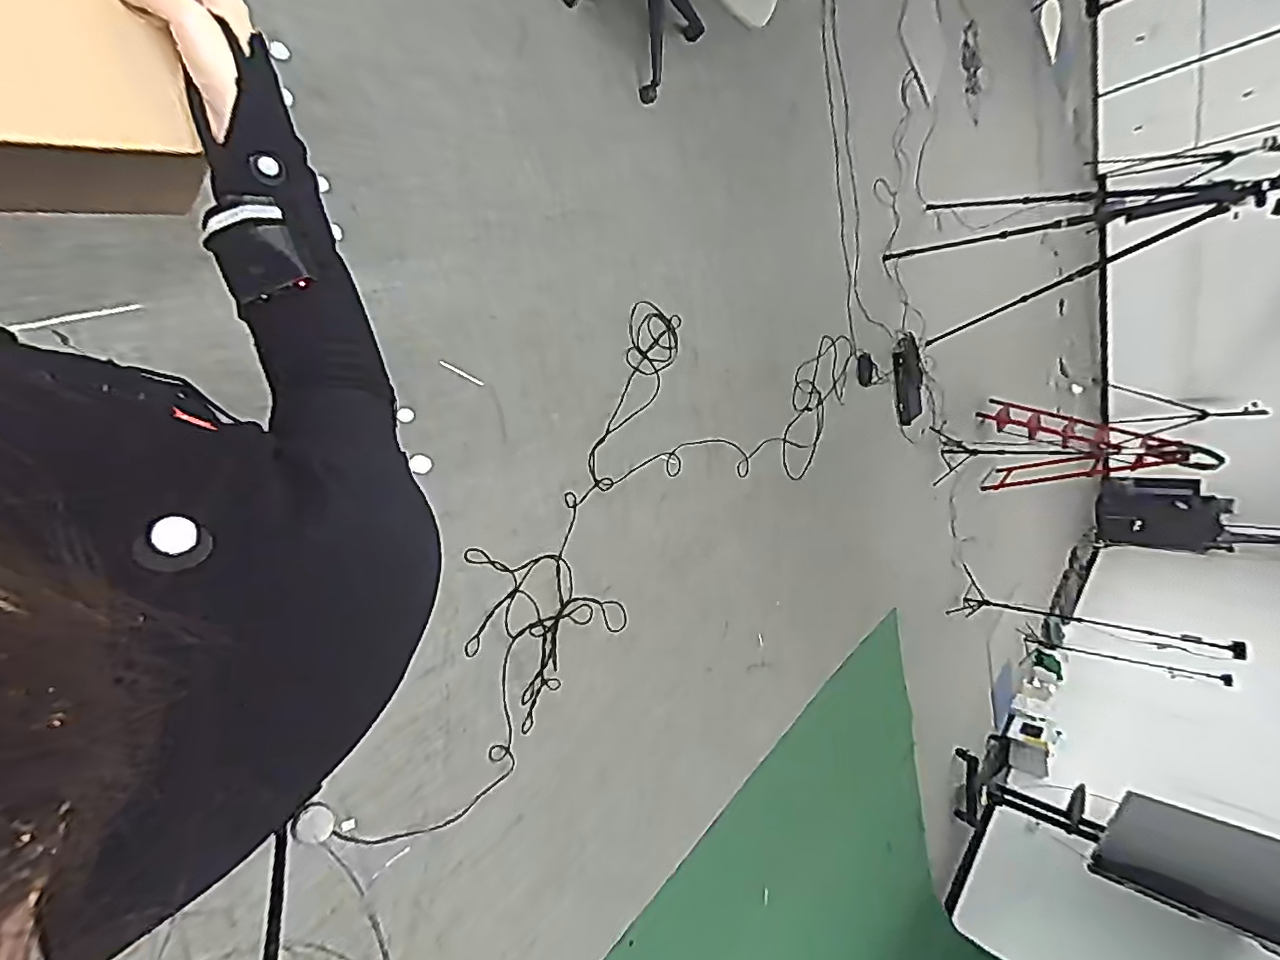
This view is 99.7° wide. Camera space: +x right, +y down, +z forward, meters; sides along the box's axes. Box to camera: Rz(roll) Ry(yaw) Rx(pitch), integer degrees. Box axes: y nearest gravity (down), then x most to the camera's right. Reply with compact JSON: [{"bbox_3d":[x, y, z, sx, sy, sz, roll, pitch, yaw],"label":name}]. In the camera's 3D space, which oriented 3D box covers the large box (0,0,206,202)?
[{"bbox_3d":[-0.586,-0.369,0.350,0.408,0.320,0.320,-20,115,-36],"label":"large box"}]
